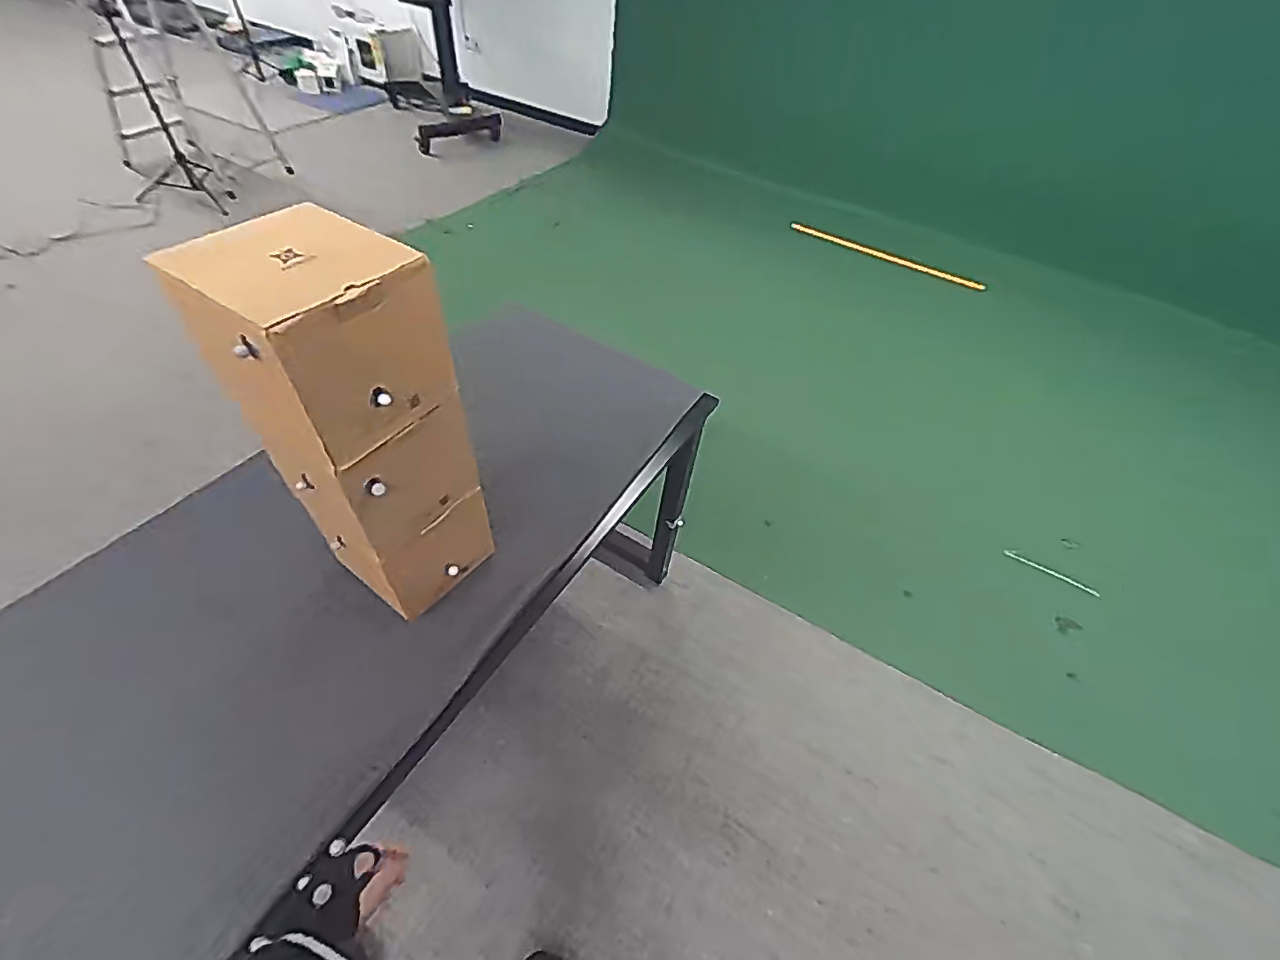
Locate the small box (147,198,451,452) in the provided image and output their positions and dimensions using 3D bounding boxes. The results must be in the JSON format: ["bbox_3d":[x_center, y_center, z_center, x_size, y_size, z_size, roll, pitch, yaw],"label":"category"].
[{"bbox_3d":[-0.323,-0.156,0.550,0.179,0.176,0.168,27,51,17],"label":"small box"}]

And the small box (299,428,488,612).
[{"bbox_3d":[-0.347,0.060,0.793,0.179,0.176,0.168,31,53,20],"label":"small box"}]
